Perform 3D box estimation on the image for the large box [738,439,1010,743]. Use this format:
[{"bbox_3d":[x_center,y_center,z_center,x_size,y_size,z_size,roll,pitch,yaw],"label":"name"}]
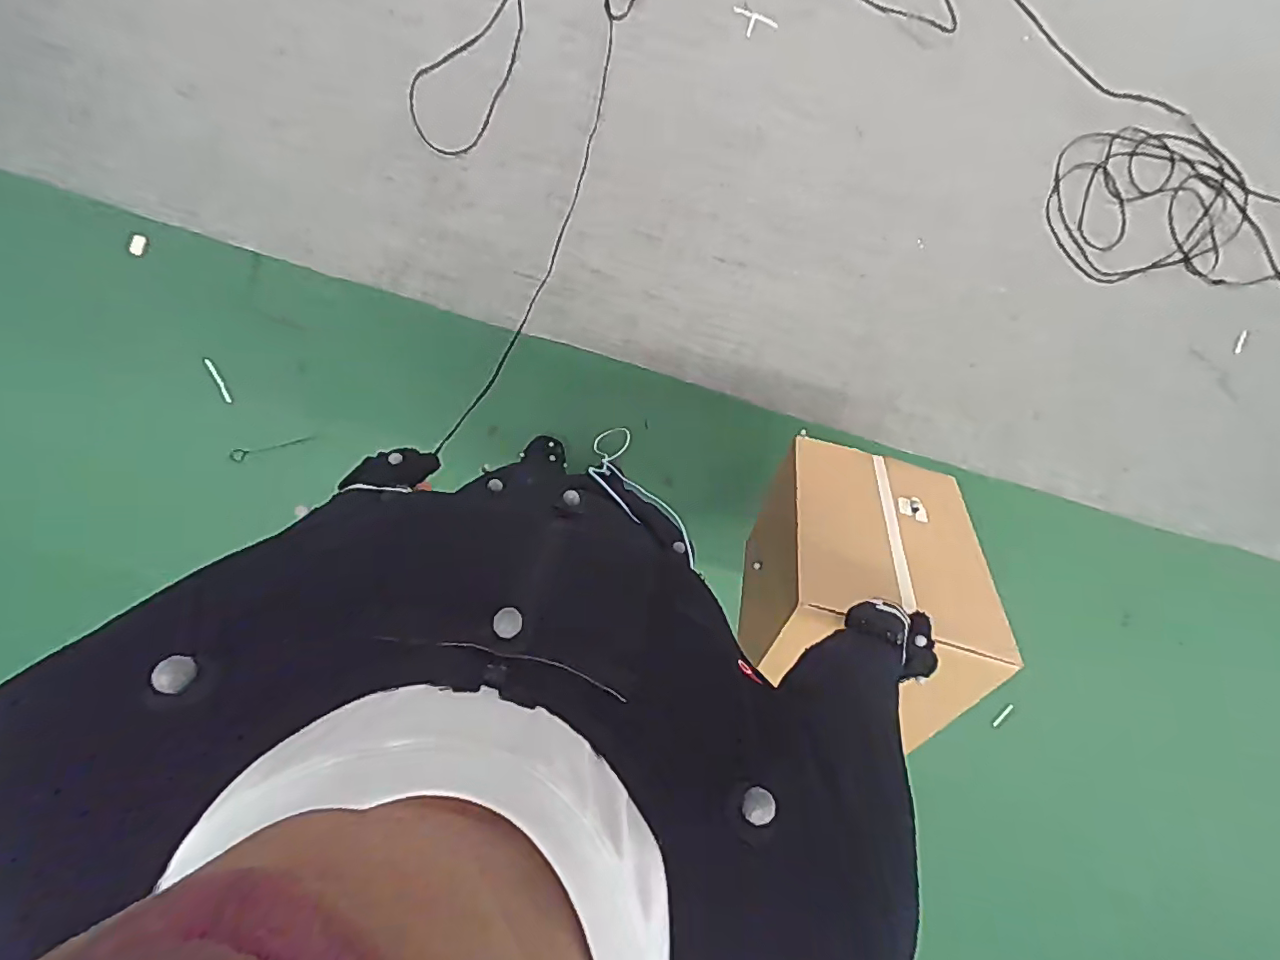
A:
[{"bbox_3d":[0.376,0.192,0.993,0.320,0.408,0.320,16,131,2],"label":"large box"}]
